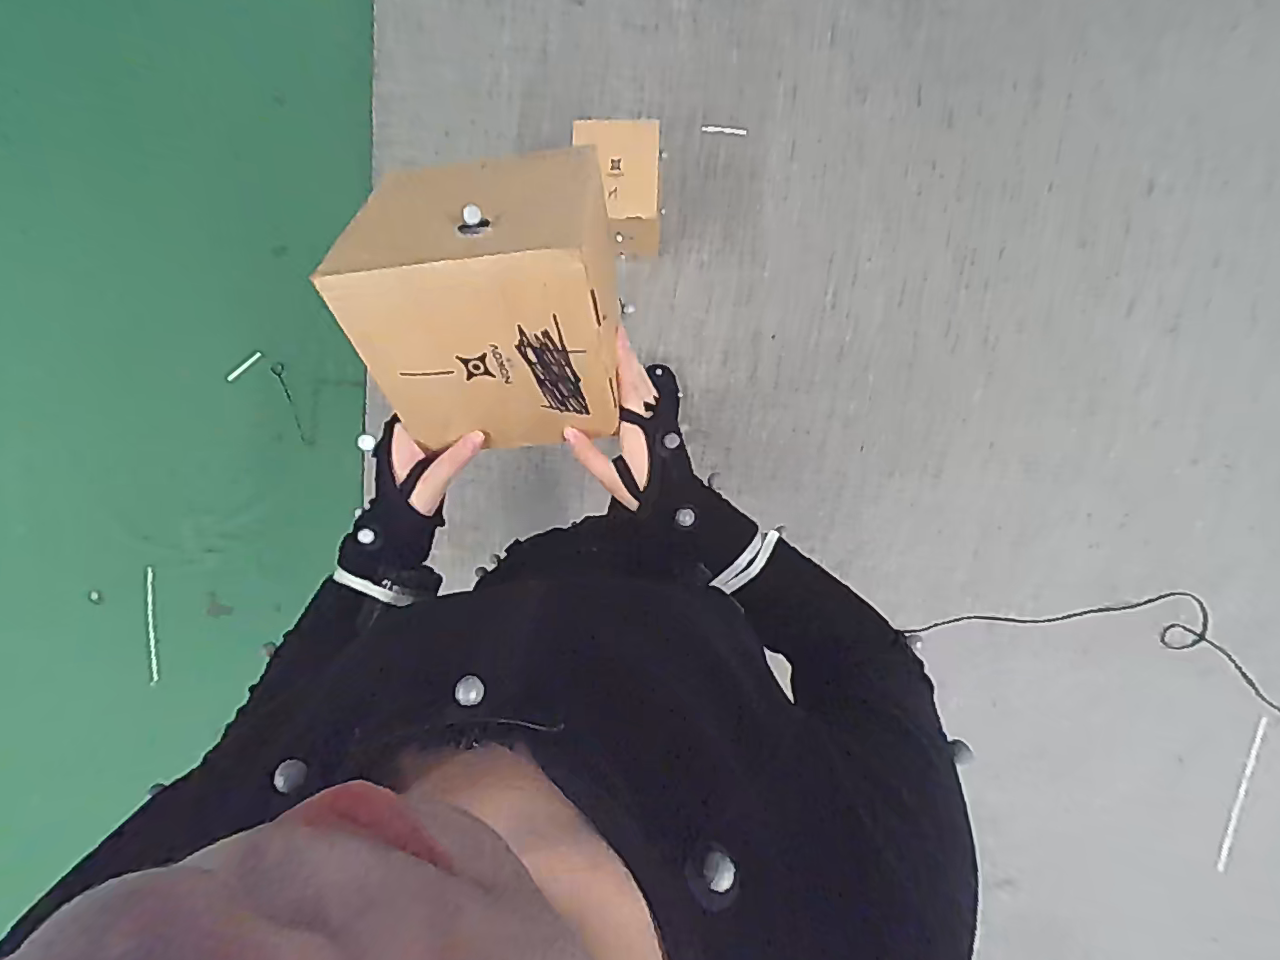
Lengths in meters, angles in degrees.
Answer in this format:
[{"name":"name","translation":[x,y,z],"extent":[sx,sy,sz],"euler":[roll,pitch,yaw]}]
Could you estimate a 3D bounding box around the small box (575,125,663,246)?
[{"name":"small box","translation":[-0.038,-0.601,1.120],"extent":[0.168,0.176,0.179],"euler":[2,100,4]}]
